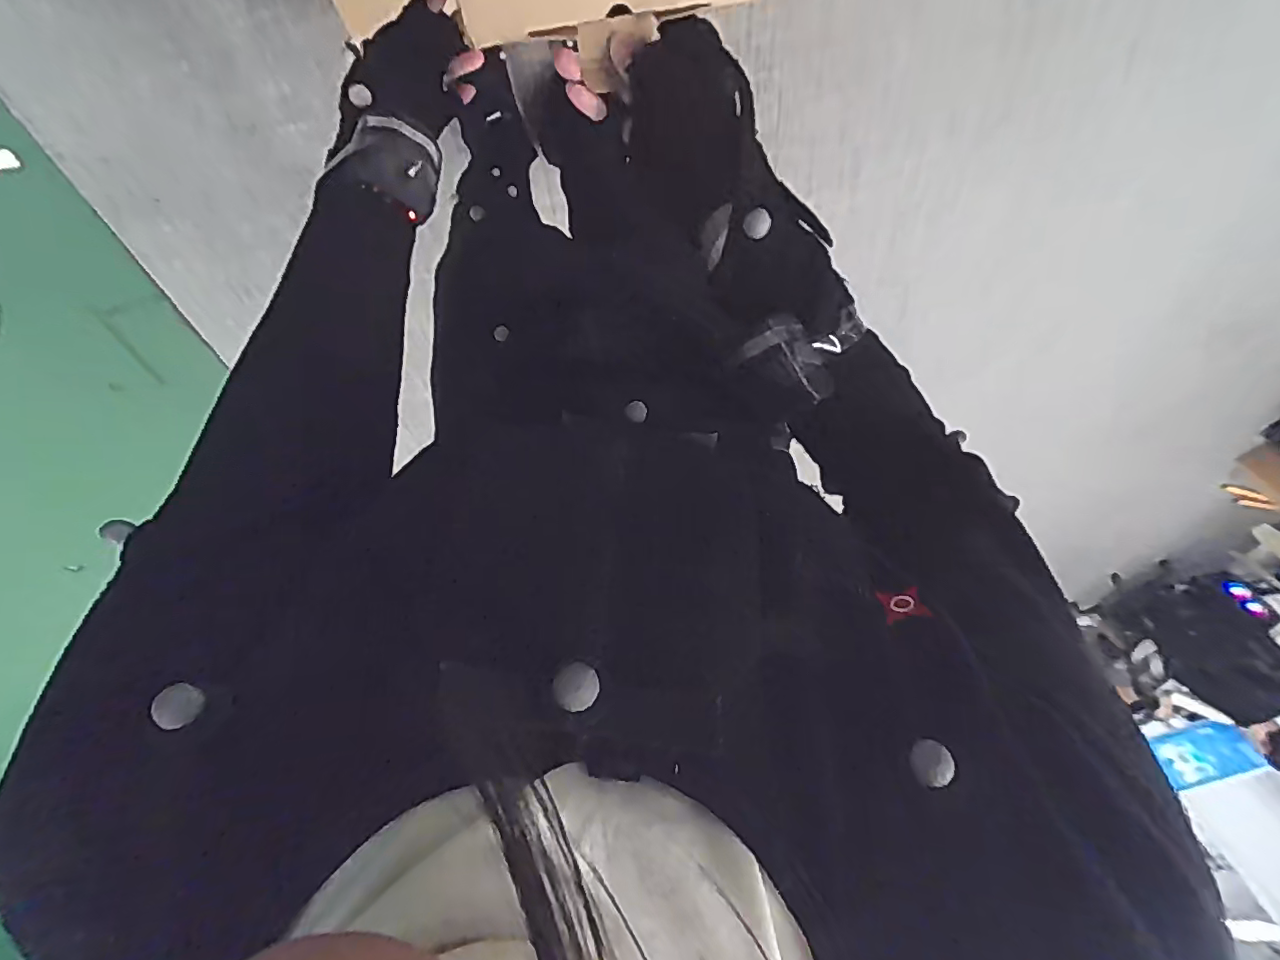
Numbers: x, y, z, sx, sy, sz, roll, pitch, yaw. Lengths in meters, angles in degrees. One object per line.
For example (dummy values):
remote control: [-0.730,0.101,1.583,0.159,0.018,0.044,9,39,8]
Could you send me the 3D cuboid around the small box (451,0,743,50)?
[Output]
small box: [-0.041,-0.366,0.278,0.168,0.176,0.179,-14,145,-4]
